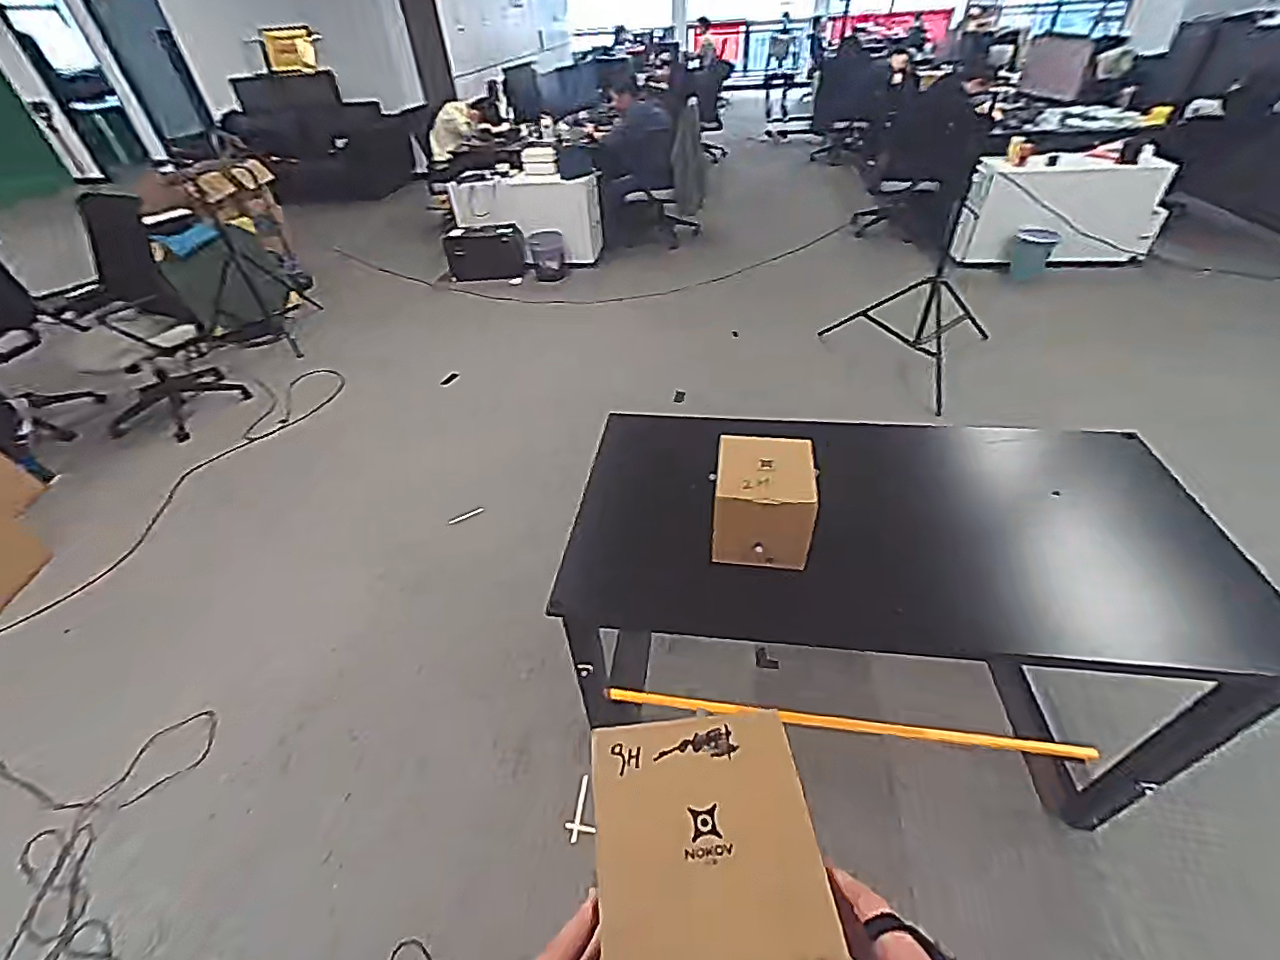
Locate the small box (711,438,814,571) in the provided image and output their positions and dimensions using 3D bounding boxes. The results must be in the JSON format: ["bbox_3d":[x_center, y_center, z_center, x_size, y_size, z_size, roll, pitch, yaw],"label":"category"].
[{"bbox_3d":[0.220,0.043,1.001,0.168,0.176,0.179,4,42,9],"label":"small box"}]

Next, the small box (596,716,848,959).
[{"bbox_3d":[0.052,0.327,0.462,0.168,0.176,0.179,-4,46,-5],"label":"small box"}]
